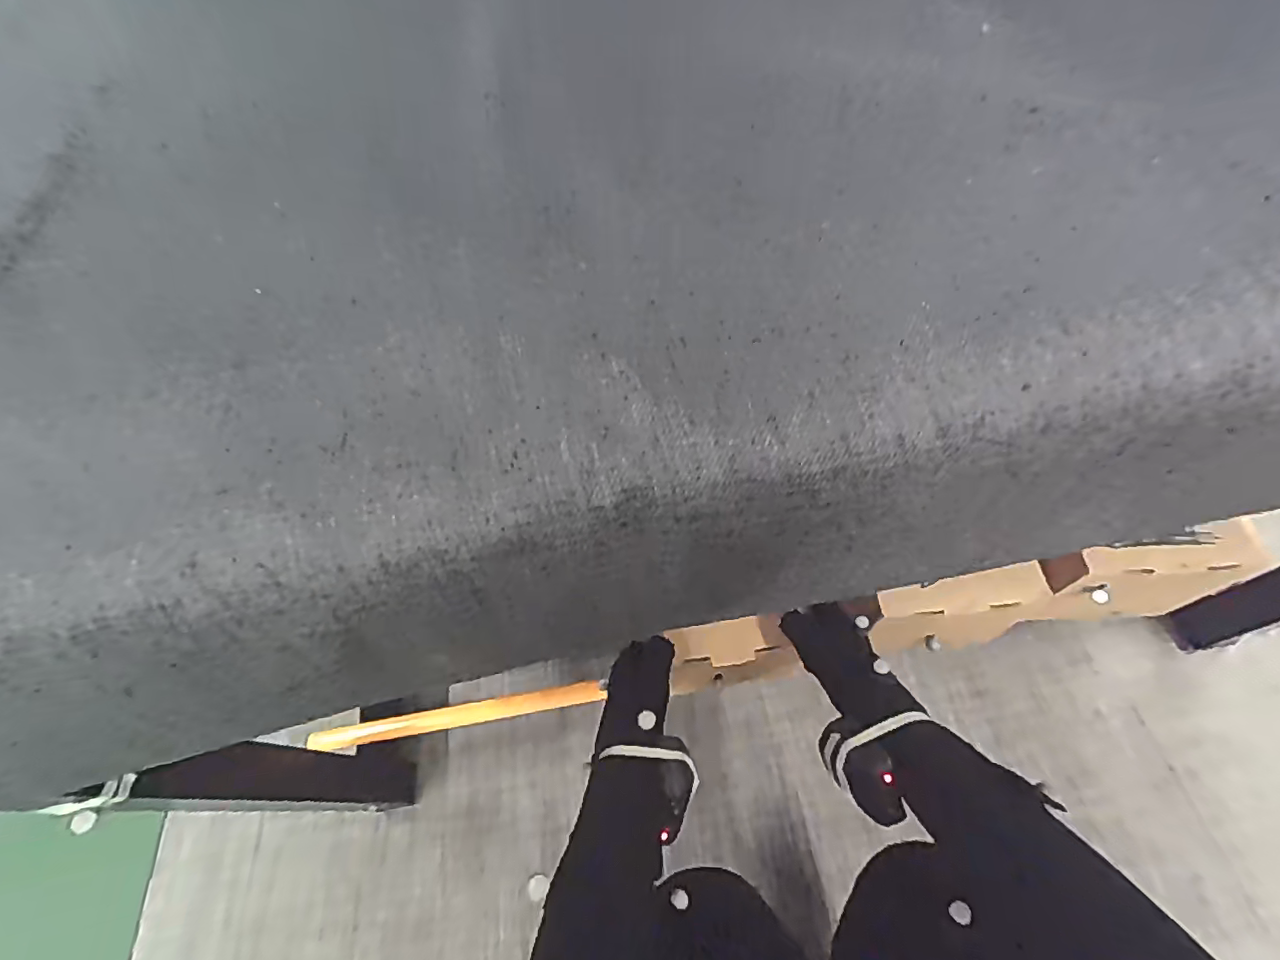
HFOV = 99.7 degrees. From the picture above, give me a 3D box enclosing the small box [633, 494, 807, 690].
[{"bbox_3d":[0.088,0.141,0.656,0.168,0.176,0.179,-10,60,3],"label":"small box"}]
